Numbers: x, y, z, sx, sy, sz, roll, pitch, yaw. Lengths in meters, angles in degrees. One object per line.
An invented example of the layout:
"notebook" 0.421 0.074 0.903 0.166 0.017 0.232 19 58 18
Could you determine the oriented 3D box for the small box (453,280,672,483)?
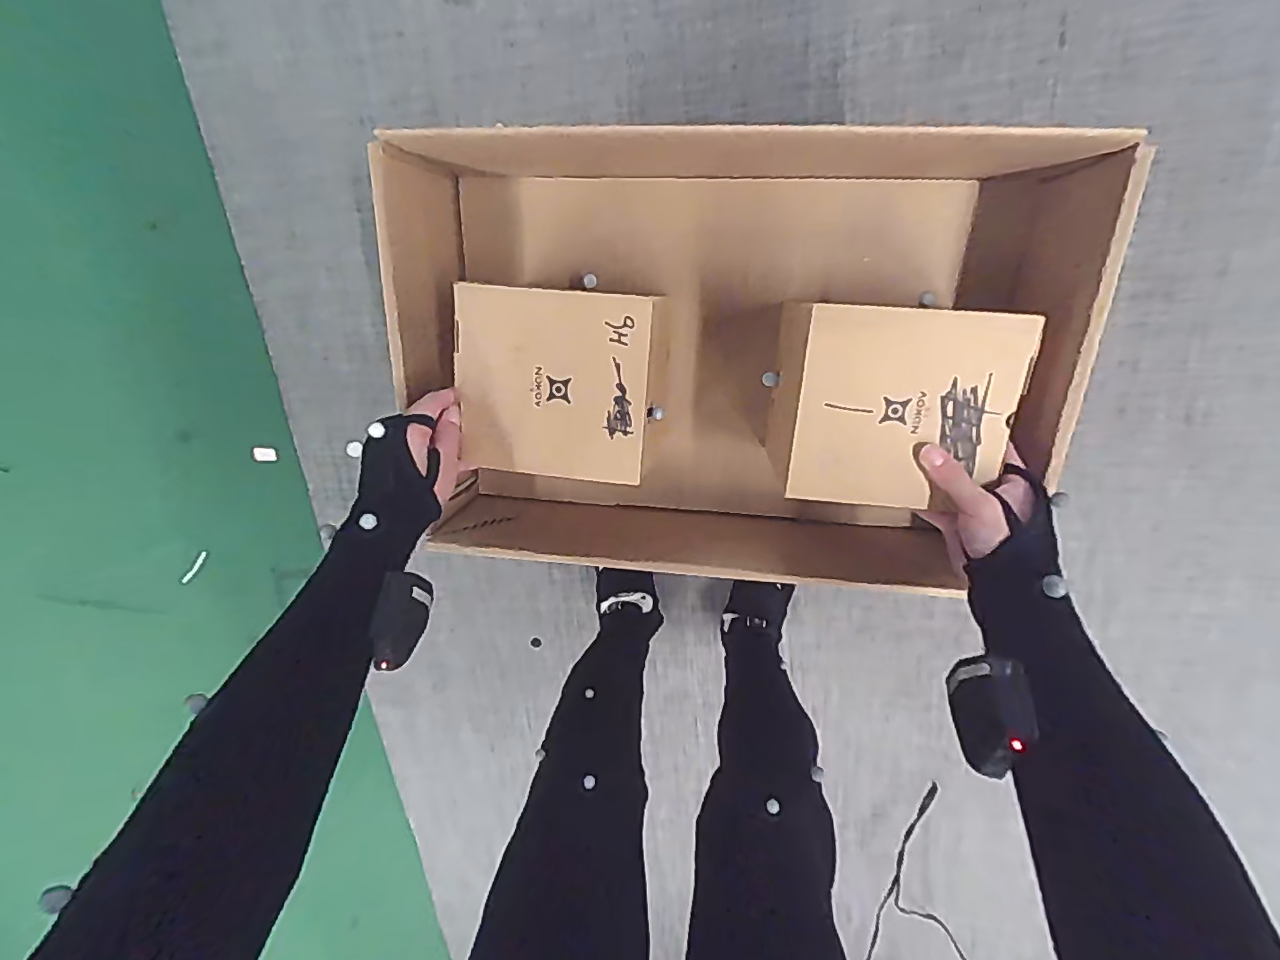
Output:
"small box" -0.070 -0.108 0.556 0.179 0.176 0.168 7 109 8
